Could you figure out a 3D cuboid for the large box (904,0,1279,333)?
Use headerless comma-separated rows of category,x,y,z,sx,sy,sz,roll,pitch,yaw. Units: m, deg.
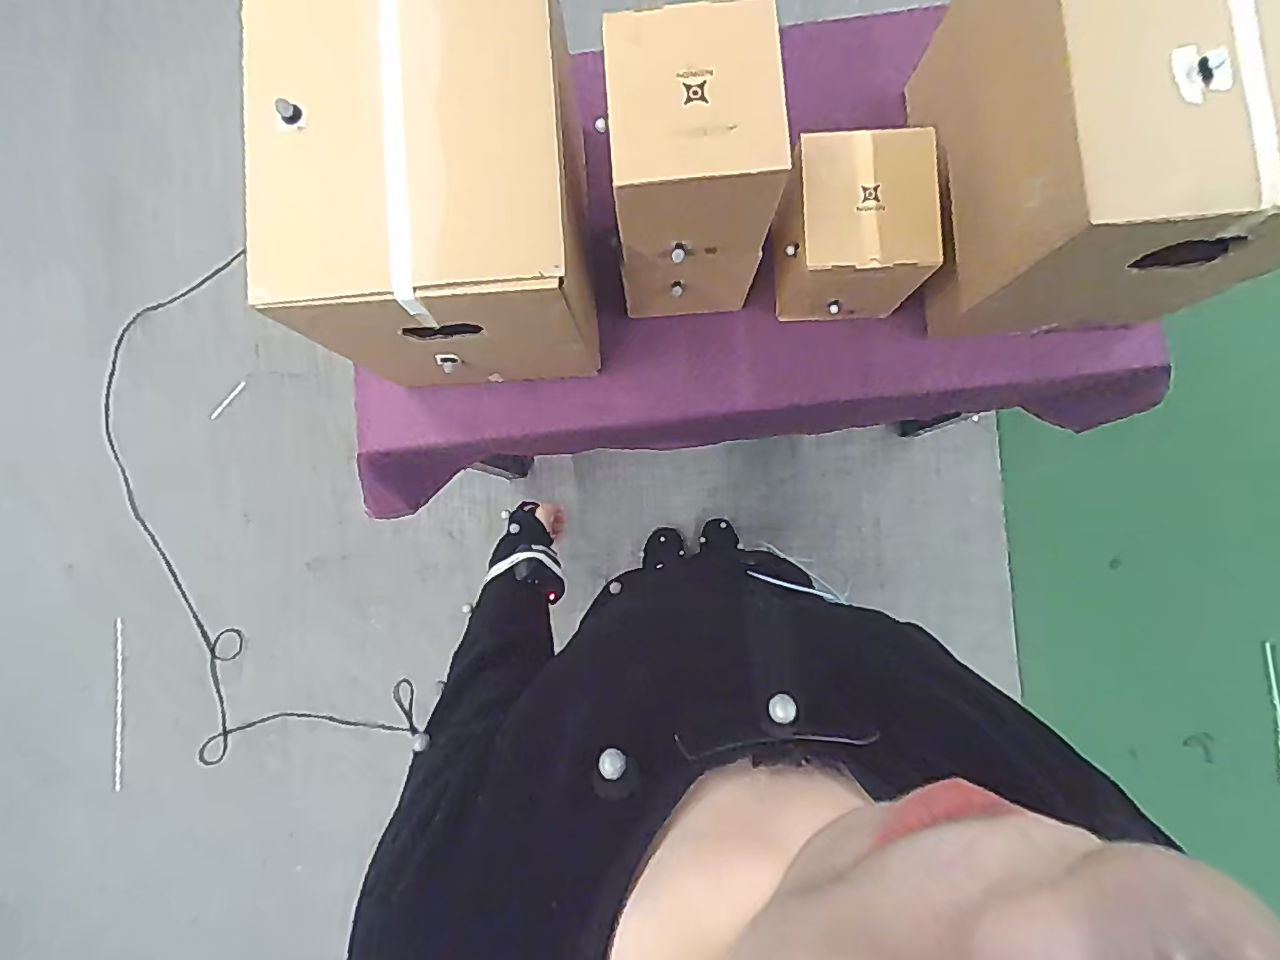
large box,0.567,-0.433,0.674,0.320,0.320,0.408,-3,86,1
